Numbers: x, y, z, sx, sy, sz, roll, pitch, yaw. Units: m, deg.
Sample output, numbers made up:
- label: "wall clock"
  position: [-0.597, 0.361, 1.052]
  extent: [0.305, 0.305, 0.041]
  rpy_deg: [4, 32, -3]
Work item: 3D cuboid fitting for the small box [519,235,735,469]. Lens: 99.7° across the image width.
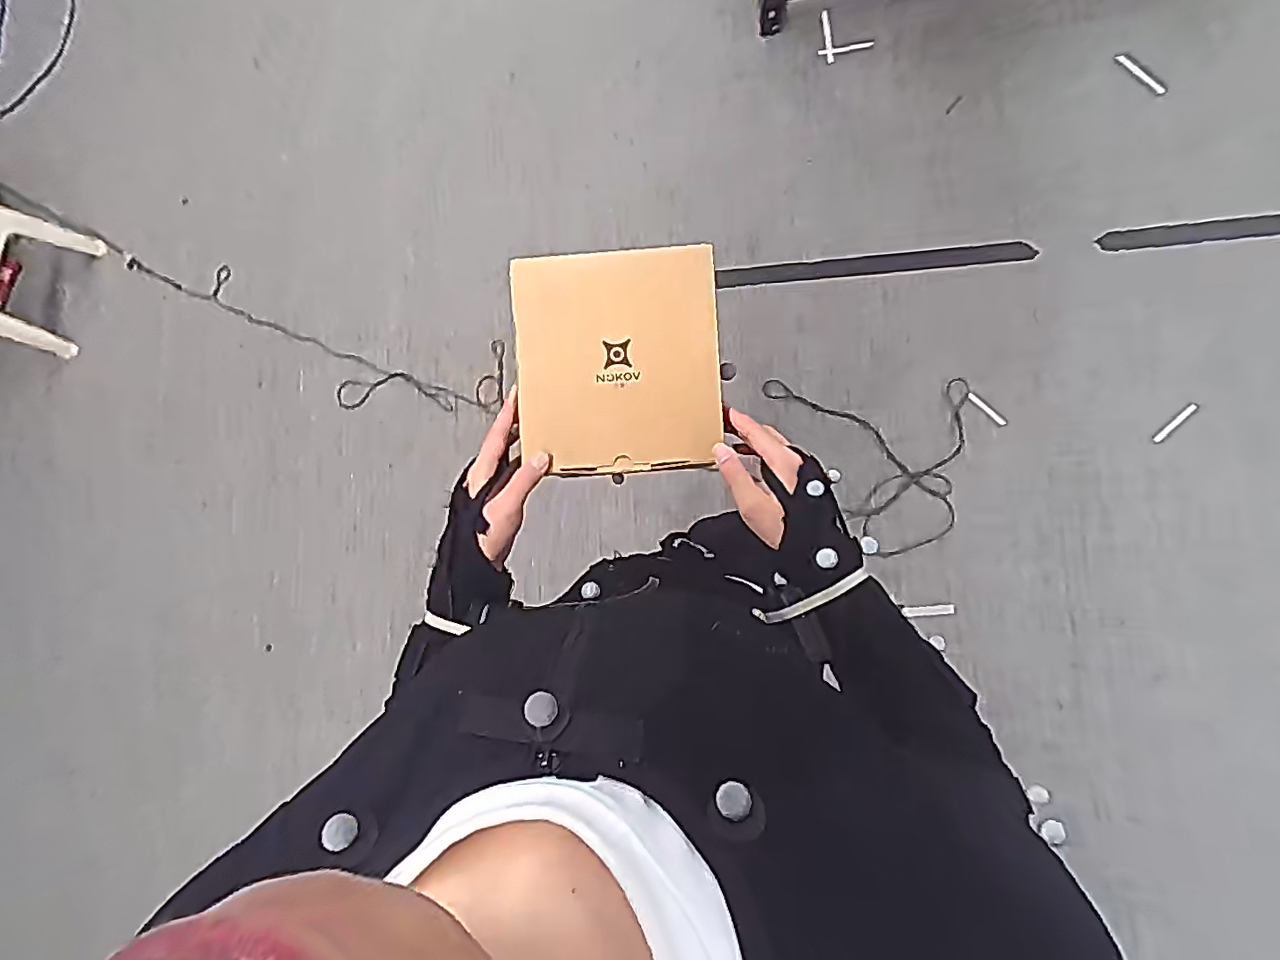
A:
- label: "small box"
  position: [-0.010, -0.102, 0.503]
  extent: [0.168, 0.176, 0.179]
  rpy_deg: [-3, 91, 1]
